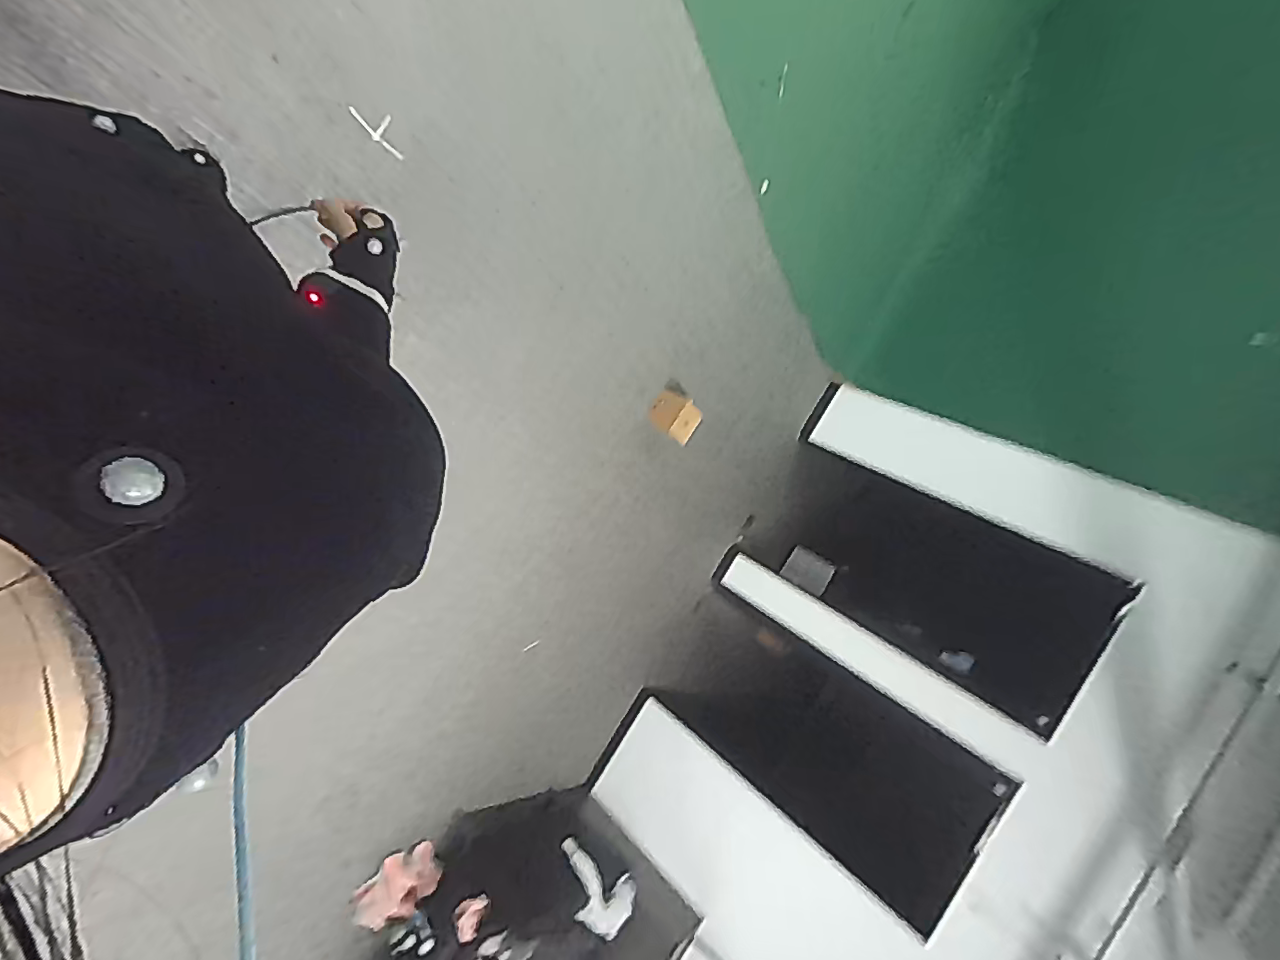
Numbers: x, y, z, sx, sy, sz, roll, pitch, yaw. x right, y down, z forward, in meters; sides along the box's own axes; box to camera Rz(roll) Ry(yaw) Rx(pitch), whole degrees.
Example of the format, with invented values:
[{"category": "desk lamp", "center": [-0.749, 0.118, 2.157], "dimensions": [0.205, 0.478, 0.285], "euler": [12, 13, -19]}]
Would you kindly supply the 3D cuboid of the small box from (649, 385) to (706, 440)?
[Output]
[{"category": "small box", "center": [0.173, -0.319, 2.522], "dimensions": [0.168, 0.176, 0.179], "euler": [-58, 145, -2]}]
